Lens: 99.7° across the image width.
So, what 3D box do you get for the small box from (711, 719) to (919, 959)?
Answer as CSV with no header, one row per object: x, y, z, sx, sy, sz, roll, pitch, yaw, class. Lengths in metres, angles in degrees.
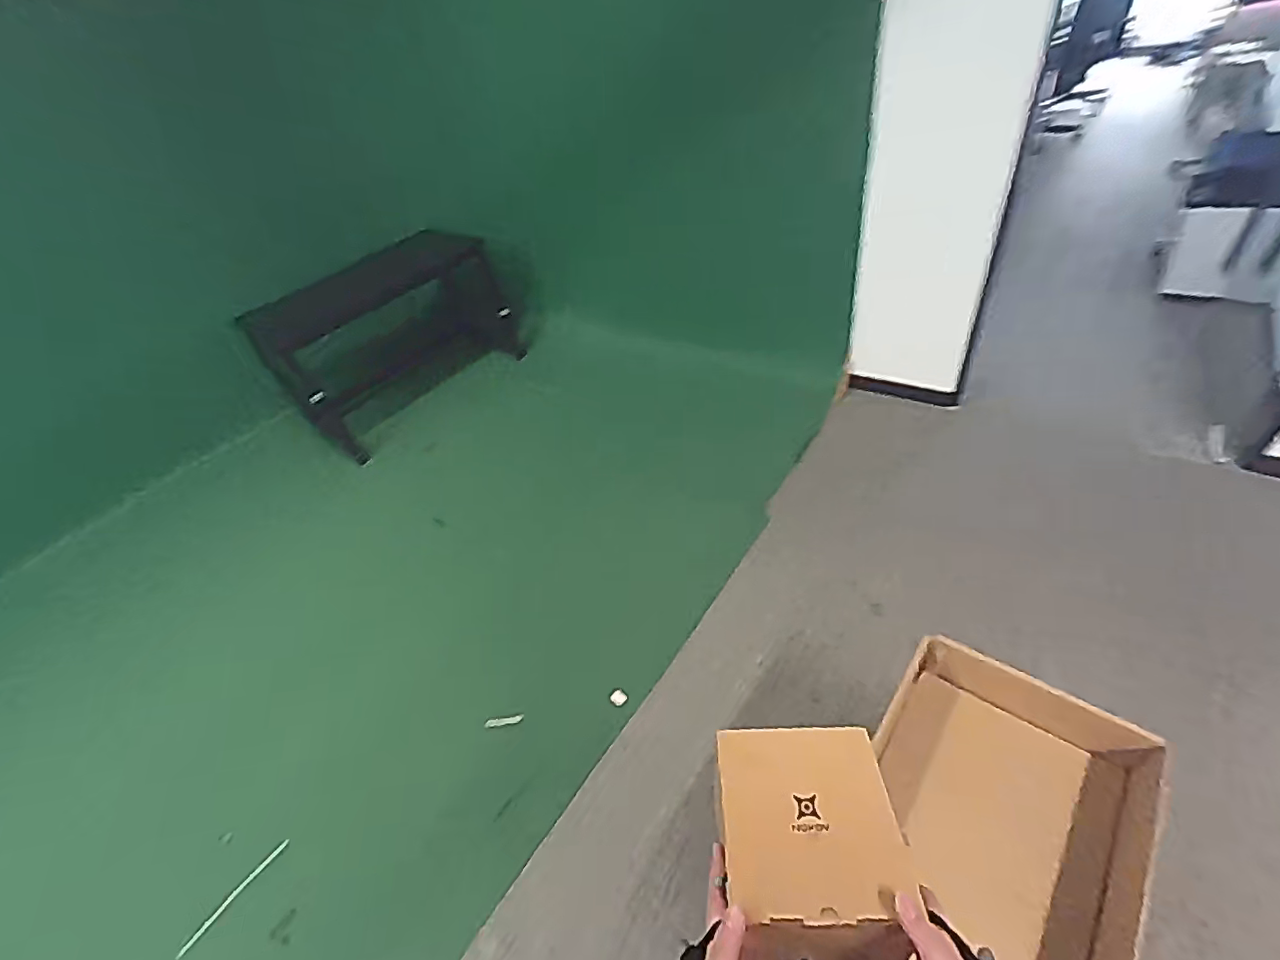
0.164,0.382,0.576,0.168,0.176,0.179,-3,36,4,small box
